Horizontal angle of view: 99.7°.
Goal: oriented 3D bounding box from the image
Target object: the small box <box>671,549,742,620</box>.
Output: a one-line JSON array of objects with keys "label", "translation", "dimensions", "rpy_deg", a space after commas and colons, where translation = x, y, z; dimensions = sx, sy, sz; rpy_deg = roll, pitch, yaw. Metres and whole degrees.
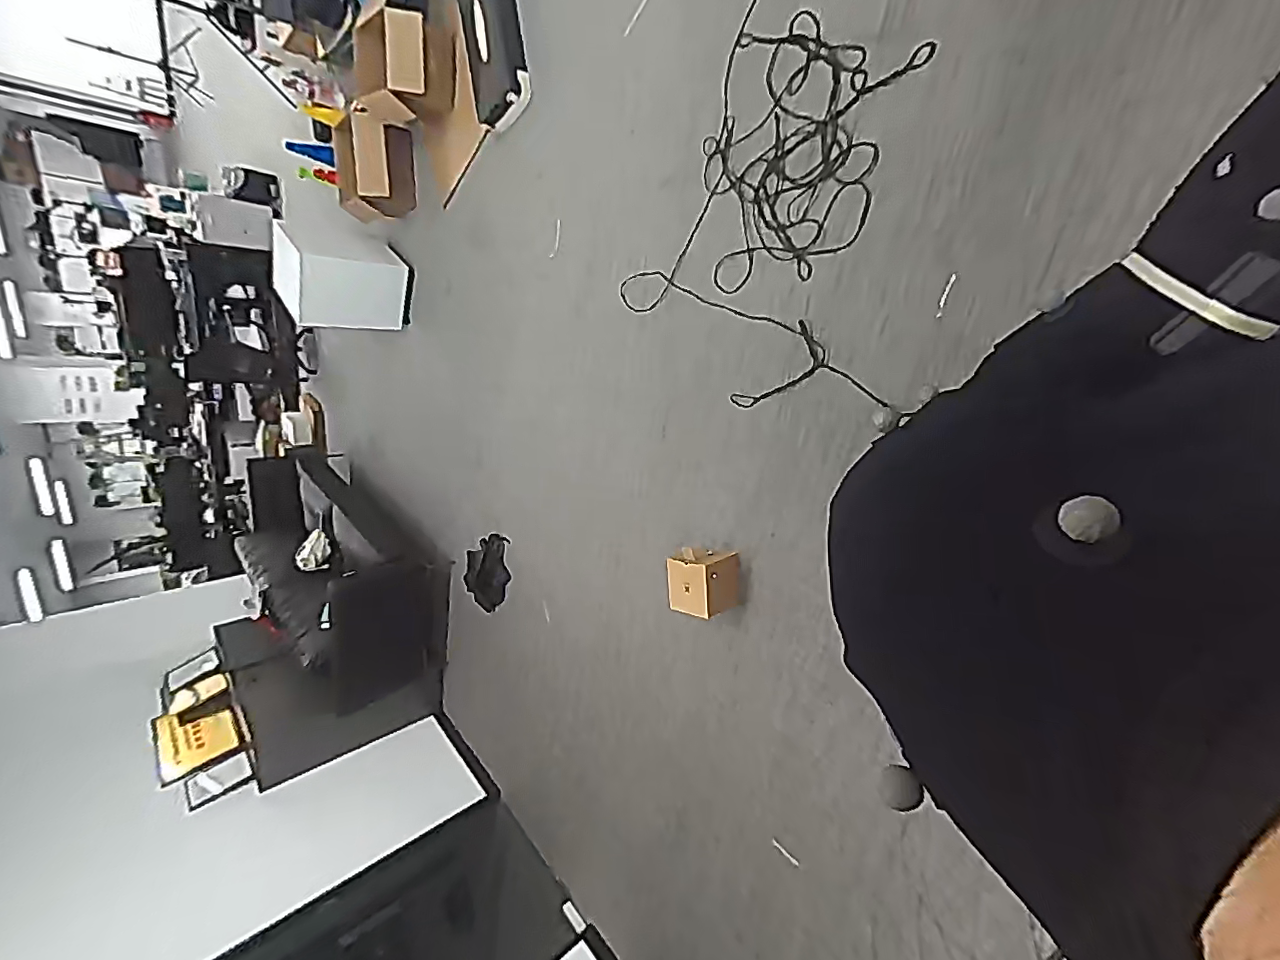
[{"label": "small box", "translation": [0.222, 0.337, 1.777], "dimensions": [0.168, 0.176, 0.179], "rpy_deg": [3, 99, 46]}]
